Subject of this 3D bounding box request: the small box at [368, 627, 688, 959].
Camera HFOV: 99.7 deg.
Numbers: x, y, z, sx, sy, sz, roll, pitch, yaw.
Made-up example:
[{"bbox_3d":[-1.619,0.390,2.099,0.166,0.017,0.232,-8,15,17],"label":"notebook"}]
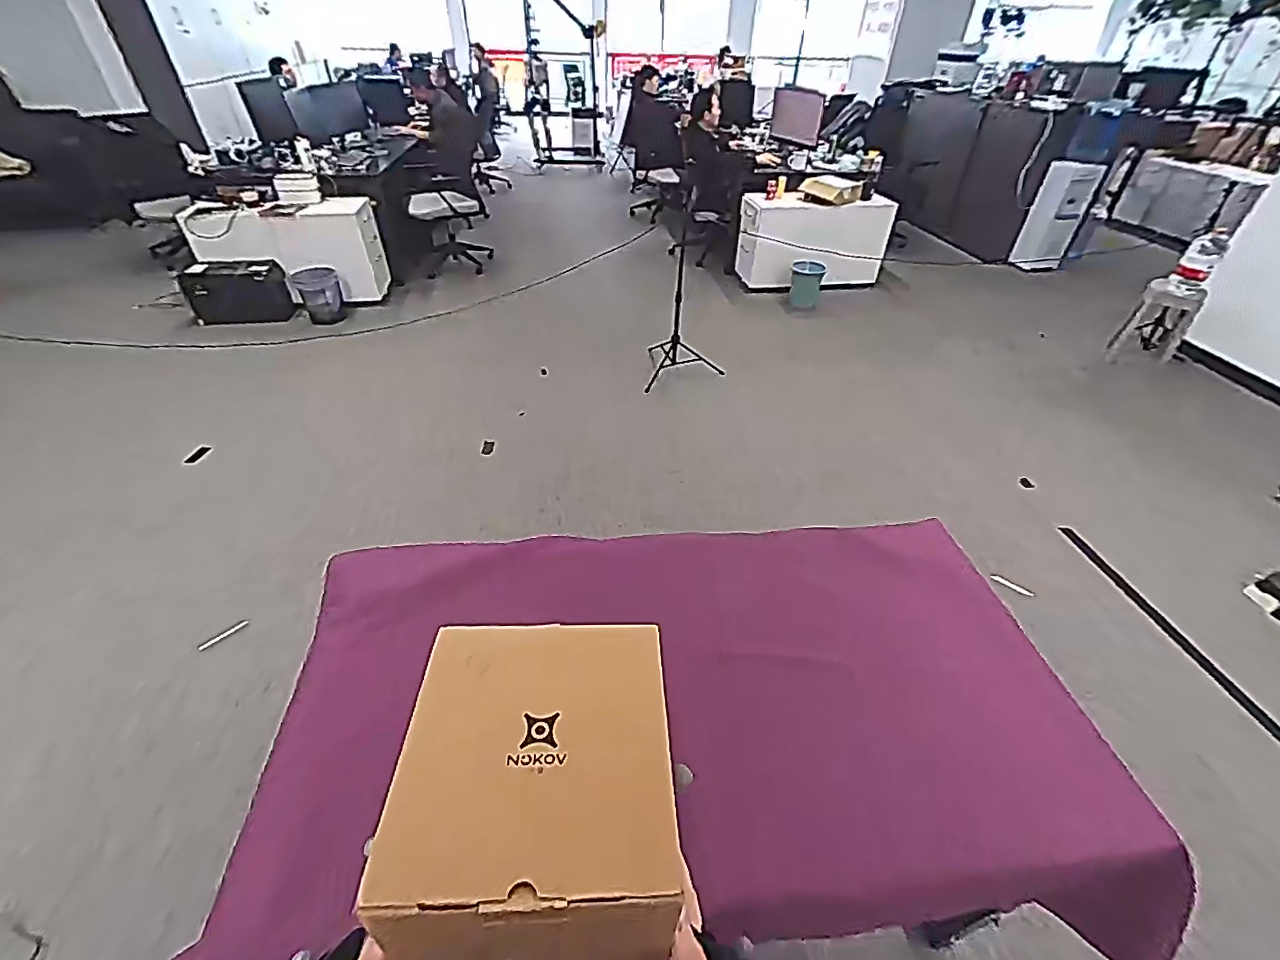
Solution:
[{"bbox_3d":[-0.065,0.228,0.387,0.168,0.176,0.179,1,37,-4],"label":"small box"}]
